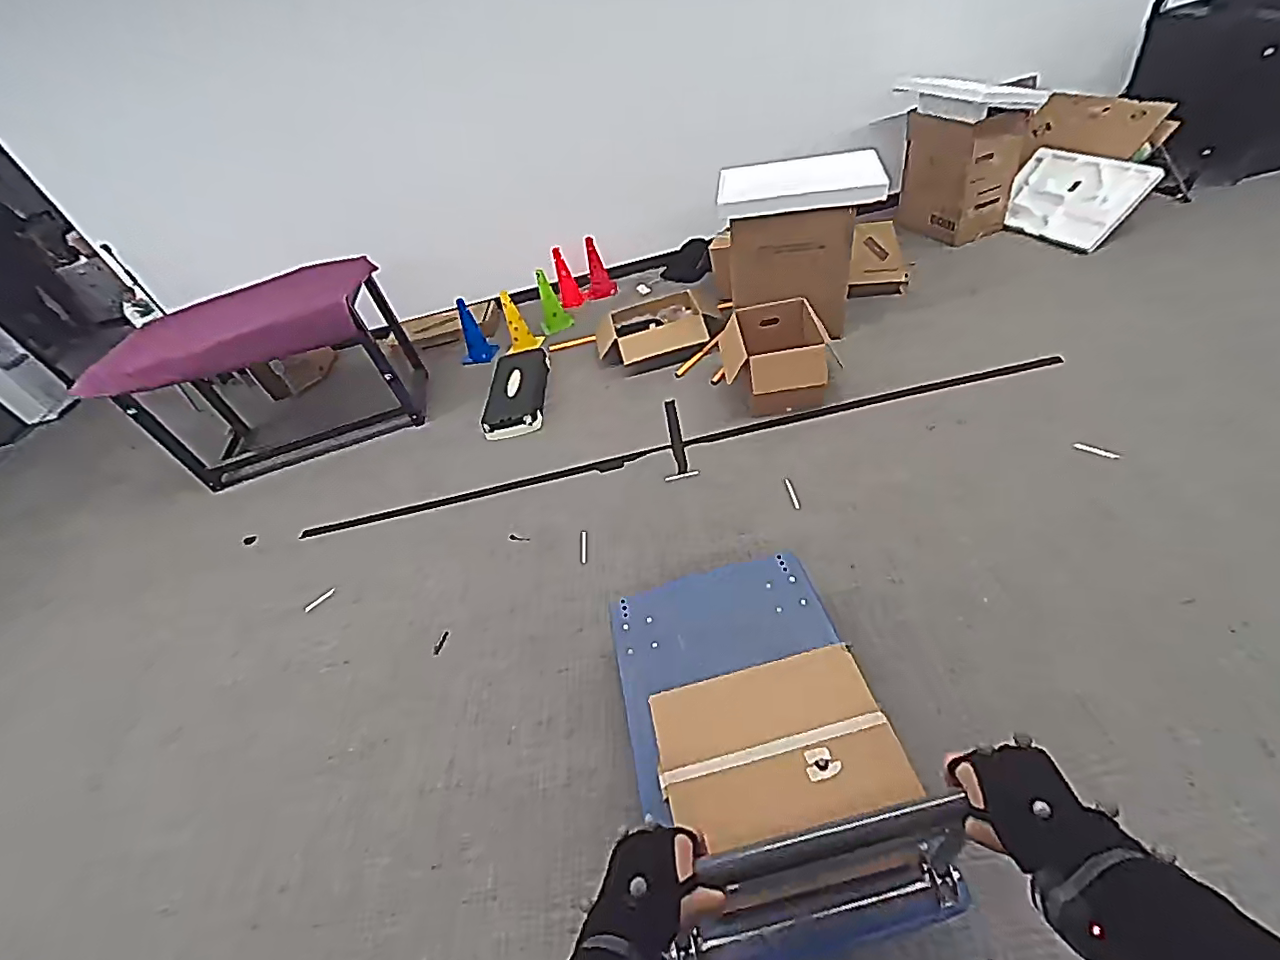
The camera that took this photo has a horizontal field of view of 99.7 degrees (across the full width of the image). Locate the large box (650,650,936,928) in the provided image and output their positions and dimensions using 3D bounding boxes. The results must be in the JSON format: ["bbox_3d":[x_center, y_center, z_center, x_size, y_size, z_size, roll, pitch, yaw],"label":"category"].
[{"bbox_3d":[0.265,0.588,1.031,0.408,0.320,0.320,-15,42,0],"label":"large box"}]
